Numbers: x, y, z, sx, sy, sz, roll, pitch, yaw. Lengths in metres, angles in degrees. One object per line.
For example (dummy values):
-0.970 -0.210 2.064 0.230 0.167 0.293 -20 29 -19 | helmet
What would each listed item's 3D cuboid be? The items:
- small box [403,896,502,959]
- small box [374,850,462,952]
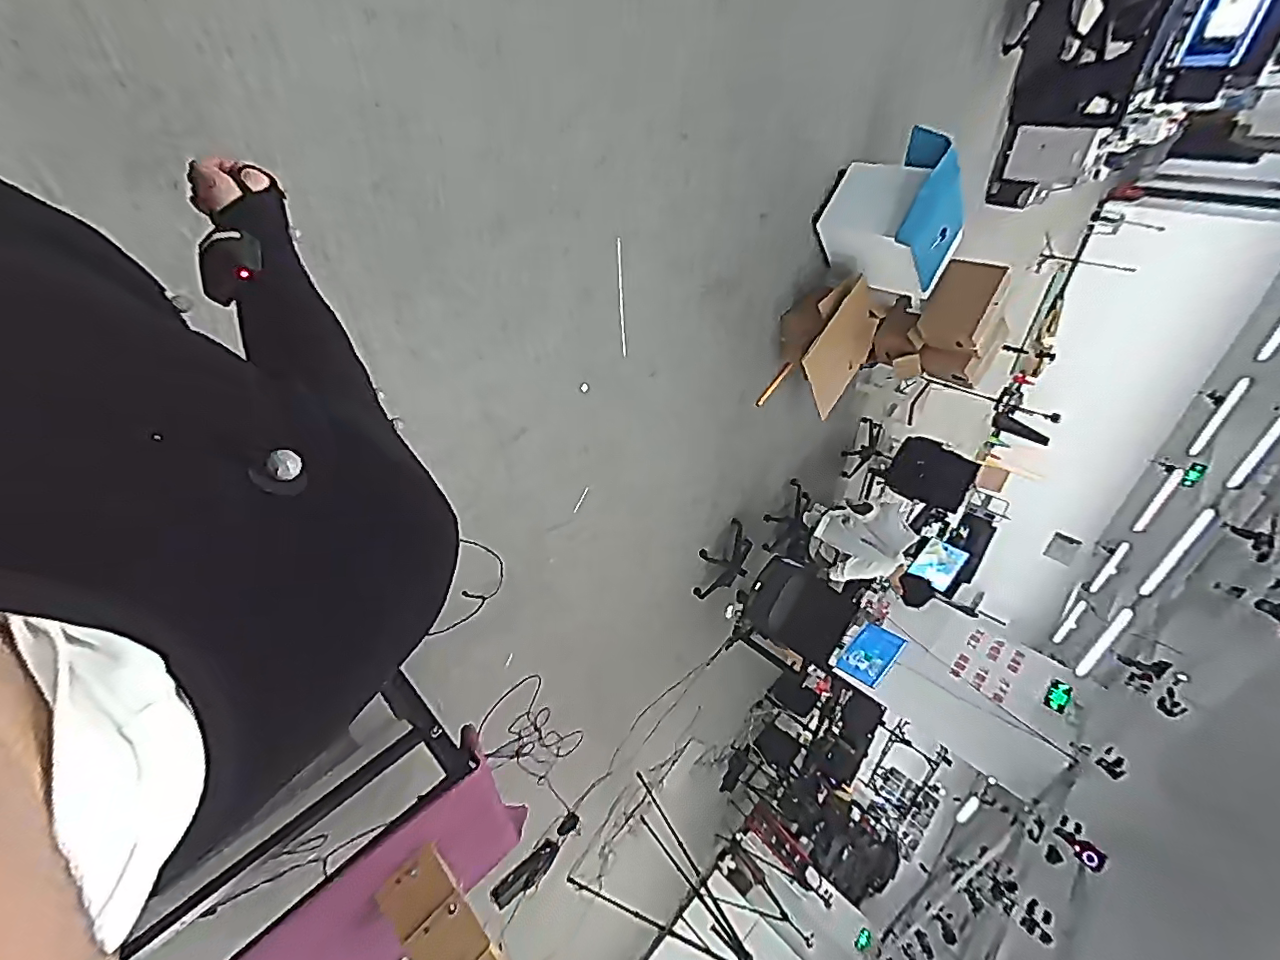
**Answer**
-0.490 1.245 1.415 0.168 0.176 0.179 -34 139 -34 | small box
-0.609 1.185 1.512 0.168 0.176 0.179 -34 138 -34 | small box
